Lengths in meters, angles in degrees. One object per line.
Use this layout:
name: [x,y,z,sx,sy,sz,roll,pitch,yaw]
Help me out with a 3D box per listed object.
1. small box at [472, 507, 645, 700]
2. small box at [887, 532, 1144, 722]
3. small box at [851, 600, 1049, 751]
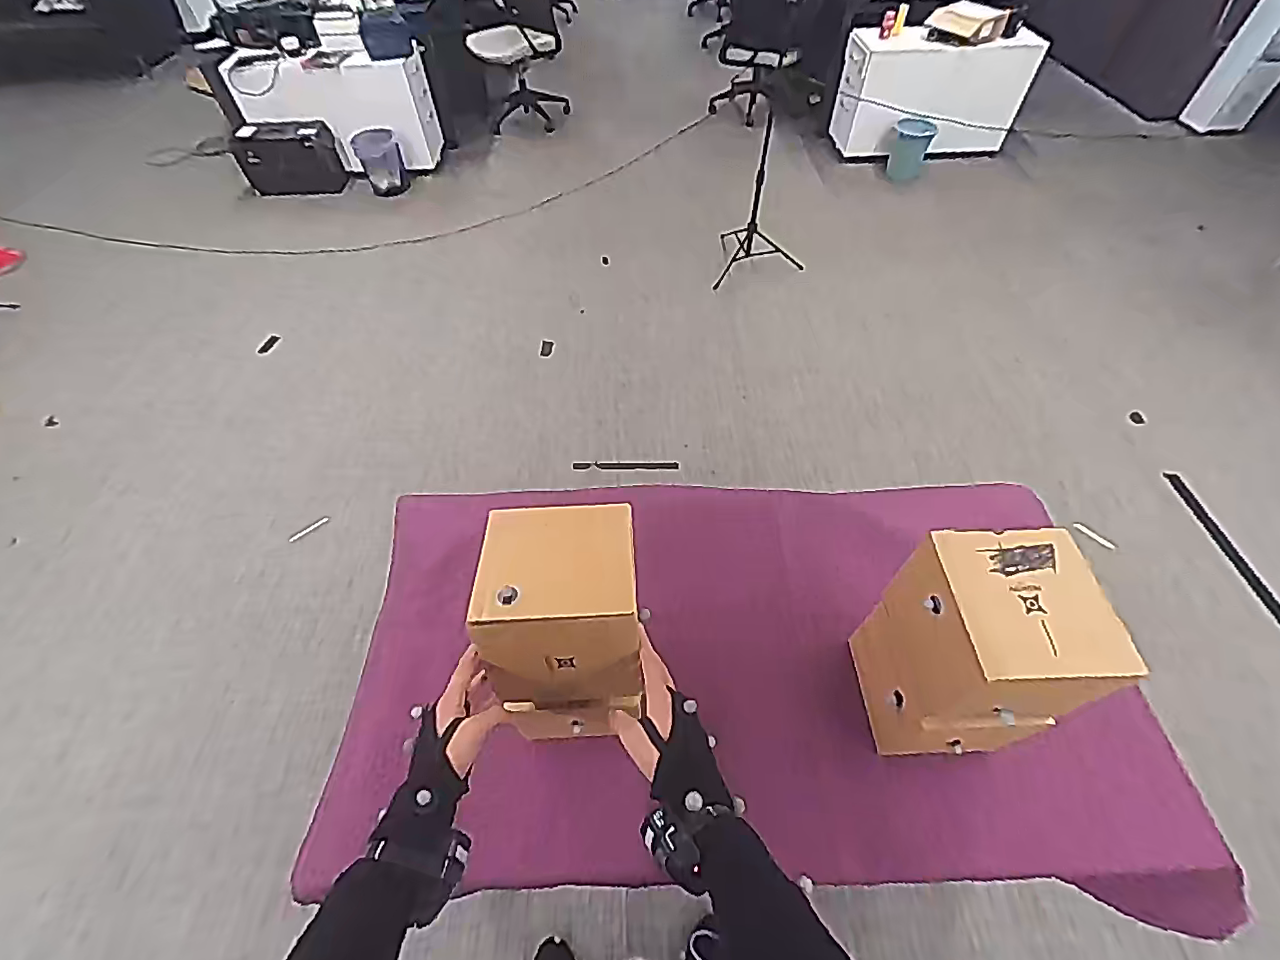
small box: [-0.086,0.146,0.657,0.179,0.168,0.176,-2,41,0]
small box: [0.425,0.180,0.656,0.168,0.176,0.179,-1,54,1]
small box: [0.427,0.286,0.782,0.168,0.176,0.179,-1,53,0]
